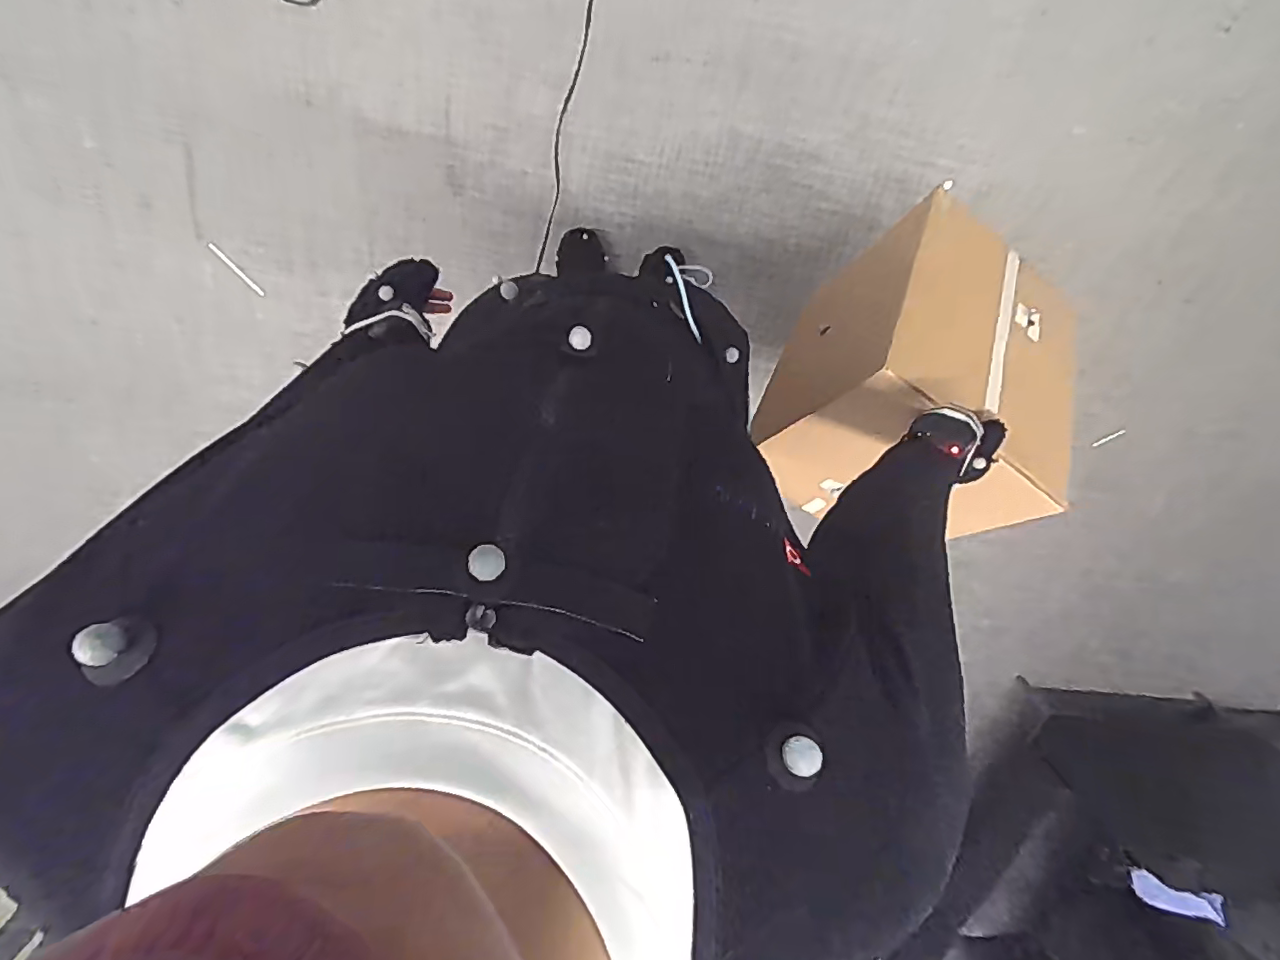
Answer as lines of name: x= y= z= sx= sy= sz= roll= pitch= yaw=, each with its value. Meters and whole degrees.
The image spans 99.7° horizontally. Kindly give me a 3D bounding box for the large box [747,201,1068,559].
large box: x=0.428 y=-0.140 z=0.877 sx=0.320 sy=0.408 sz=0.320 roll=34 pitch=150 yaw=-11
